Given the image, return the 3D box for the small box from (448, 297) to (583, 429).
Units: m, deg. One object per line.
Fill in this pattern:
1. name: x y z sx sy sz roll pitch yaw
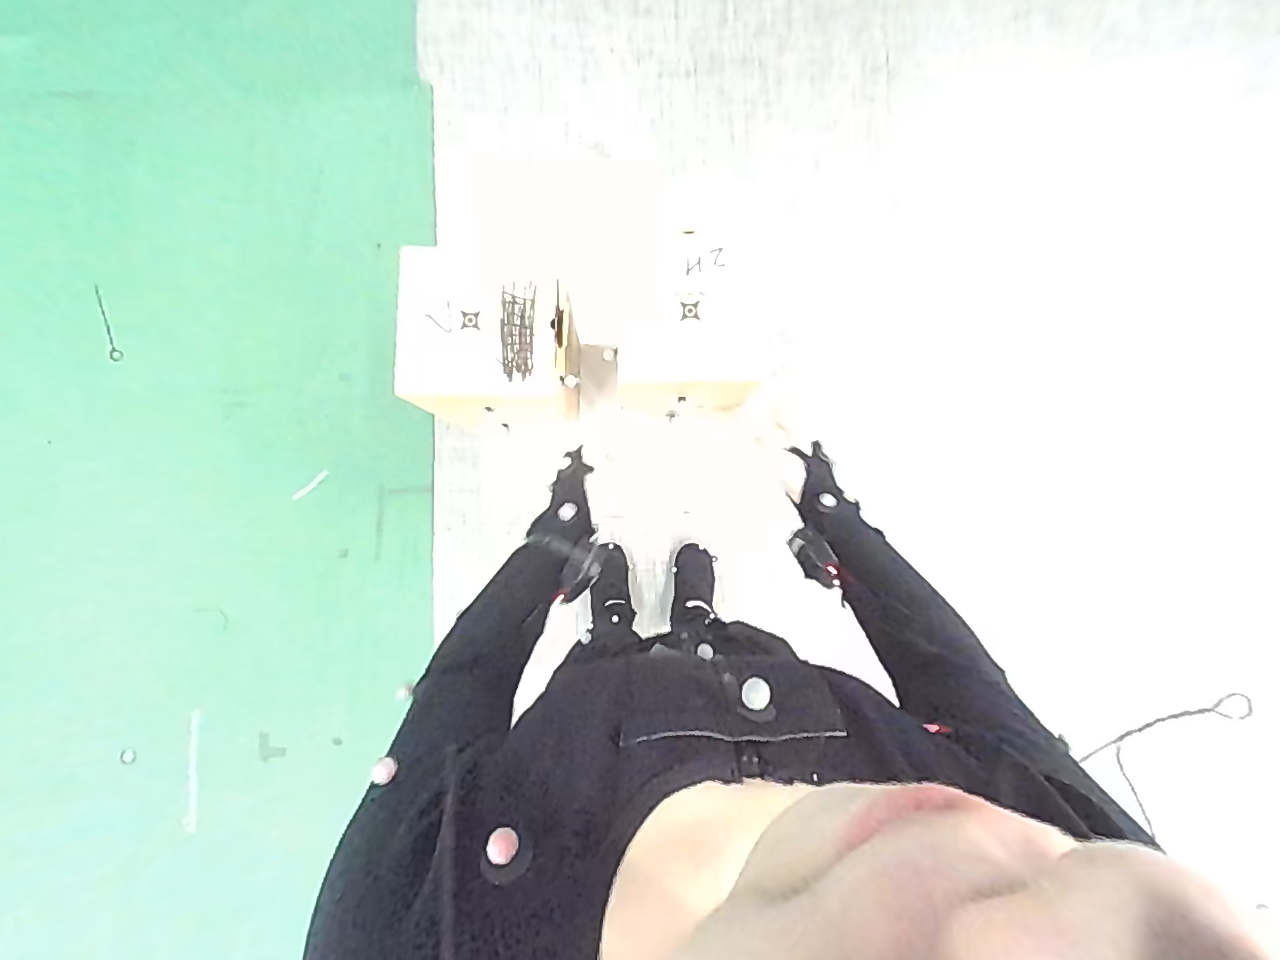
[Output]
1. small box: -0.184 -0.172 0.841 0.179 0.176 0.168 1 87 -3

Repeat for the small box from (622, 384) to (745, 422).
1. small box: 0.063 -0.184 0.844 0.179 0.176 0.168 0 87 0

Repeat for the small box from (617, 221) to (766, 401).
1. small box: 0.058 -0.197 0.680 0.168 0.176 0.179 -2 87 0
